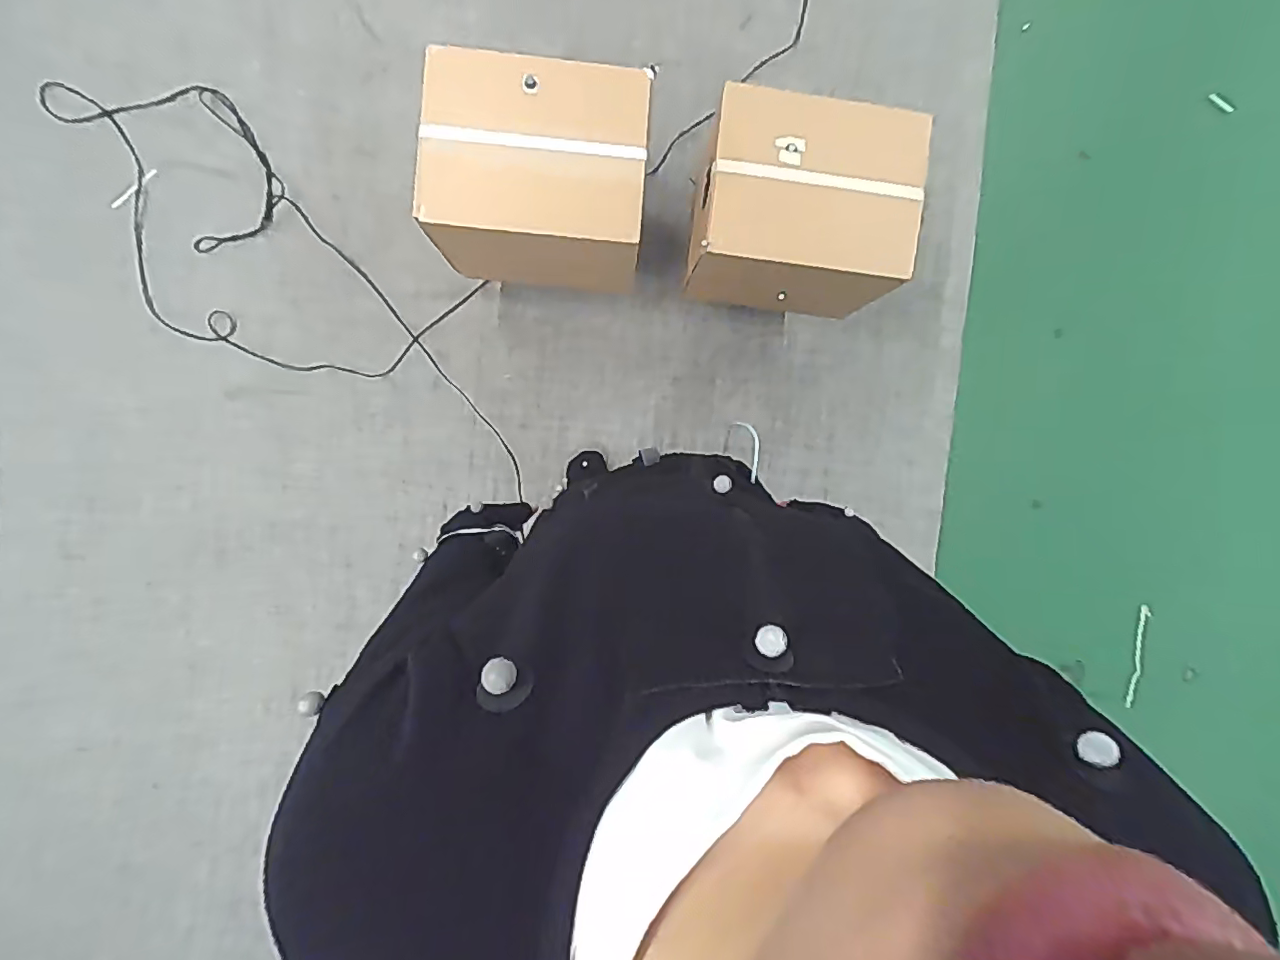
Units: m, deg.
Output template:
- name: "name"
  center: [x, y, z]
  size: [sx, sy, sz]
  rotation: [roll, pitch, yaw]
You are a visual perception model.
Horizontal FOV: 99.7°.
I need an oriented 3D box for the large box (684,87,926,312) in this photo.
- name: "large box"
  center: [0.329, -0.573, 1.175]
  size: [0.408, 0.320, 0.320]
  rotation: [6, 92, -4]
